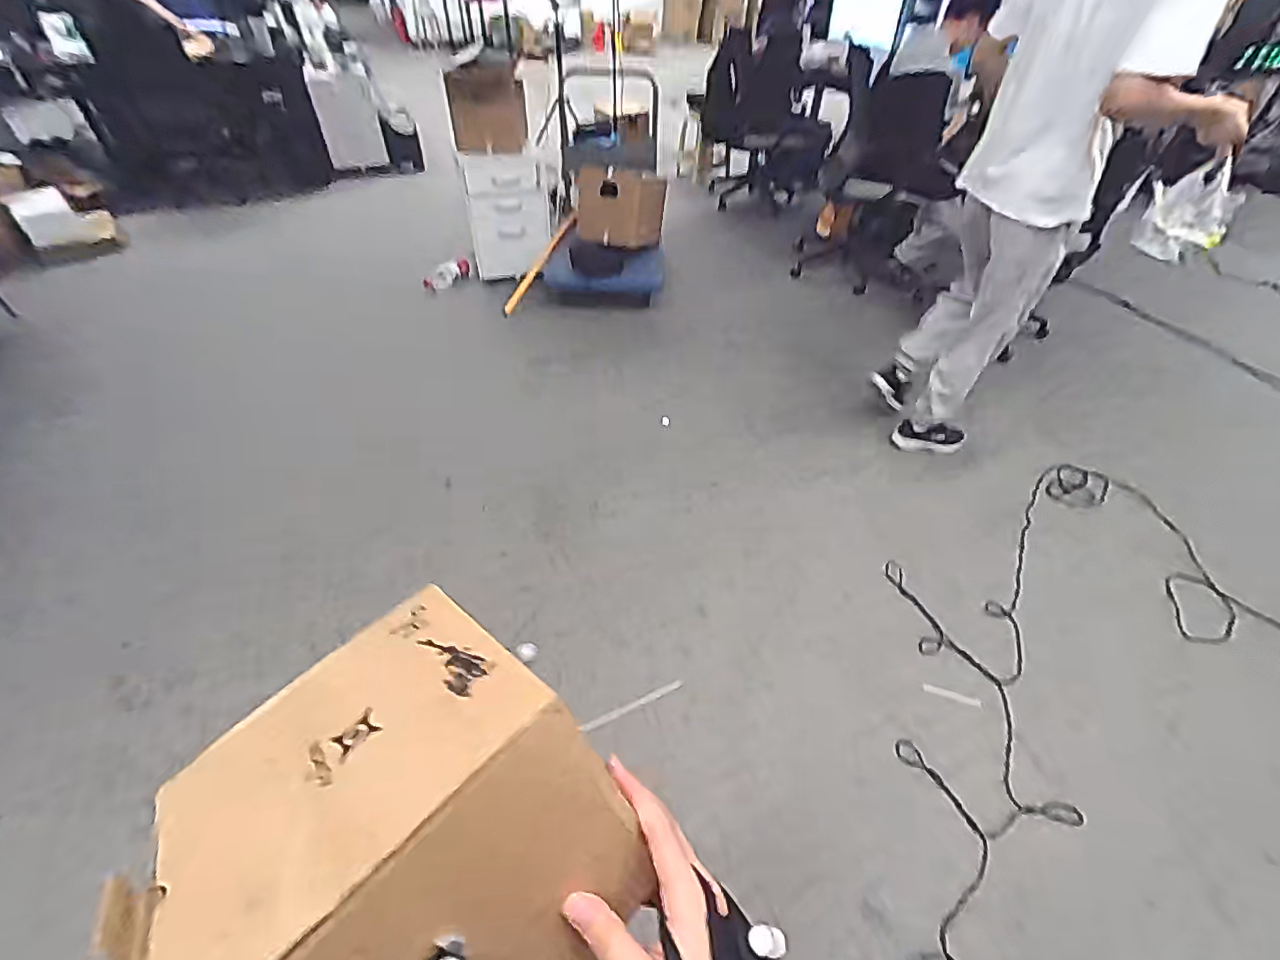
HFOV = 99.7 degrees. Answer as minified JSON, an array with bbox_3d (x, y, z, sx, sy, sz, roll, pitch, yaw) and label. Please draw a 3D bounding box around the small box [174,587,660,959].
[{"bbox_3d":[-0.116,0.200,0.313,0.179,0.176,0.168,-39,32,-28],"label":"small box"}]
